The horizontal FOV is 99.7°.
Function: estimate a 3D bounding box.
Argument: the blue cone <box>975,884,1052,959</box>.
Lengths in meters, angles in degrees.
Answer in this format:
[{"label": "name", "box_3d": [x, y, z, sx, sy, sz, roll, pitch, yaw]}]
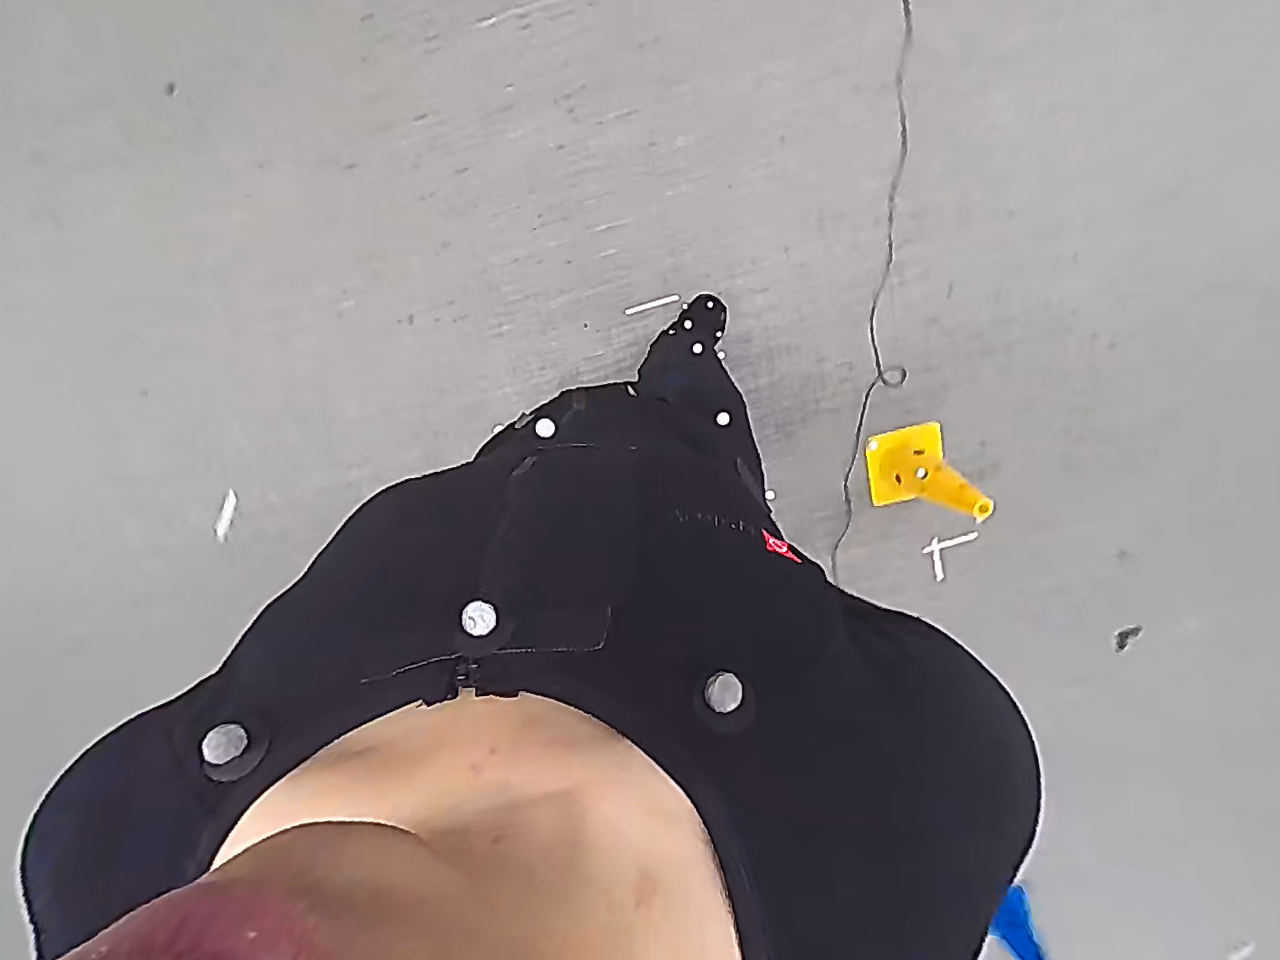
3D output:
[{"label": "blue cone", "box_3d": [1.314, 1.585, 1.787, 0.192, 0.380, 0.193, -21, 106, 6]}]
